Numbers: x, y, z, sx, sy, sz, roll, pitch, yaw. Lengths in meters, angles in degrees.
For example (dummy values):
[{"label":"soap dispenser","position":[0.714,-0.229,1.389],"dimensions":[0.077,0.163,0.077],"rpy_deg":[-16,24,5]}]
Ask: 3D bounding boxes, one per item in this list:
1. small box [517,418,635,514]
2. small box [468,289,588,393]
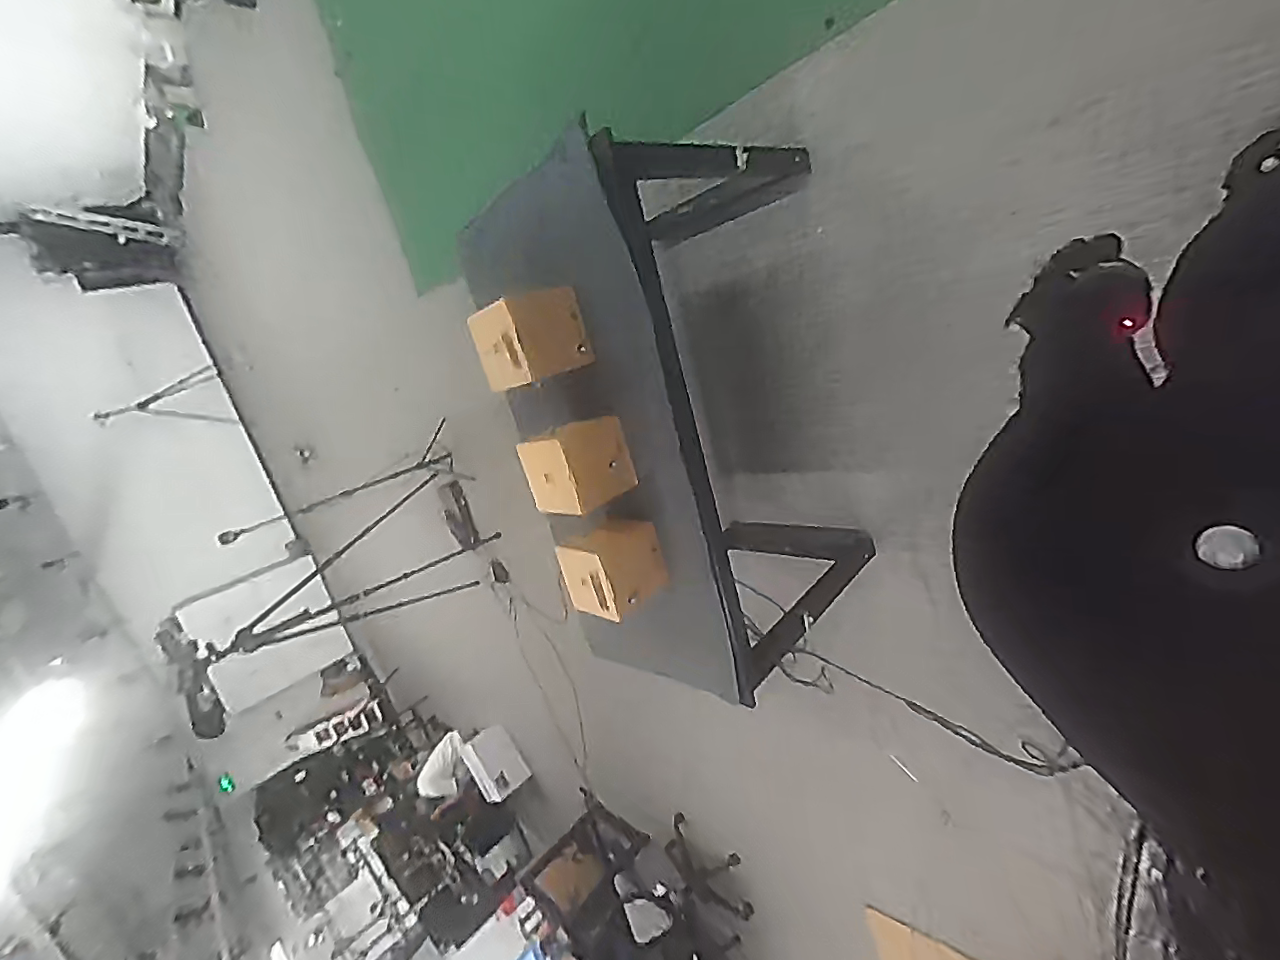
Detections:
[{"label":"small box","position":[-0.140,-0.032,1.205],"dimensions":[0.179,0.176,0.168],"rpy_deg":[-2,109,47]},{"label":"small box","position":[-0.230,-0.295,1.151],"dimensions":[0.179,0.176,0.168],"rpy_deg":[-1,110,48]}]
